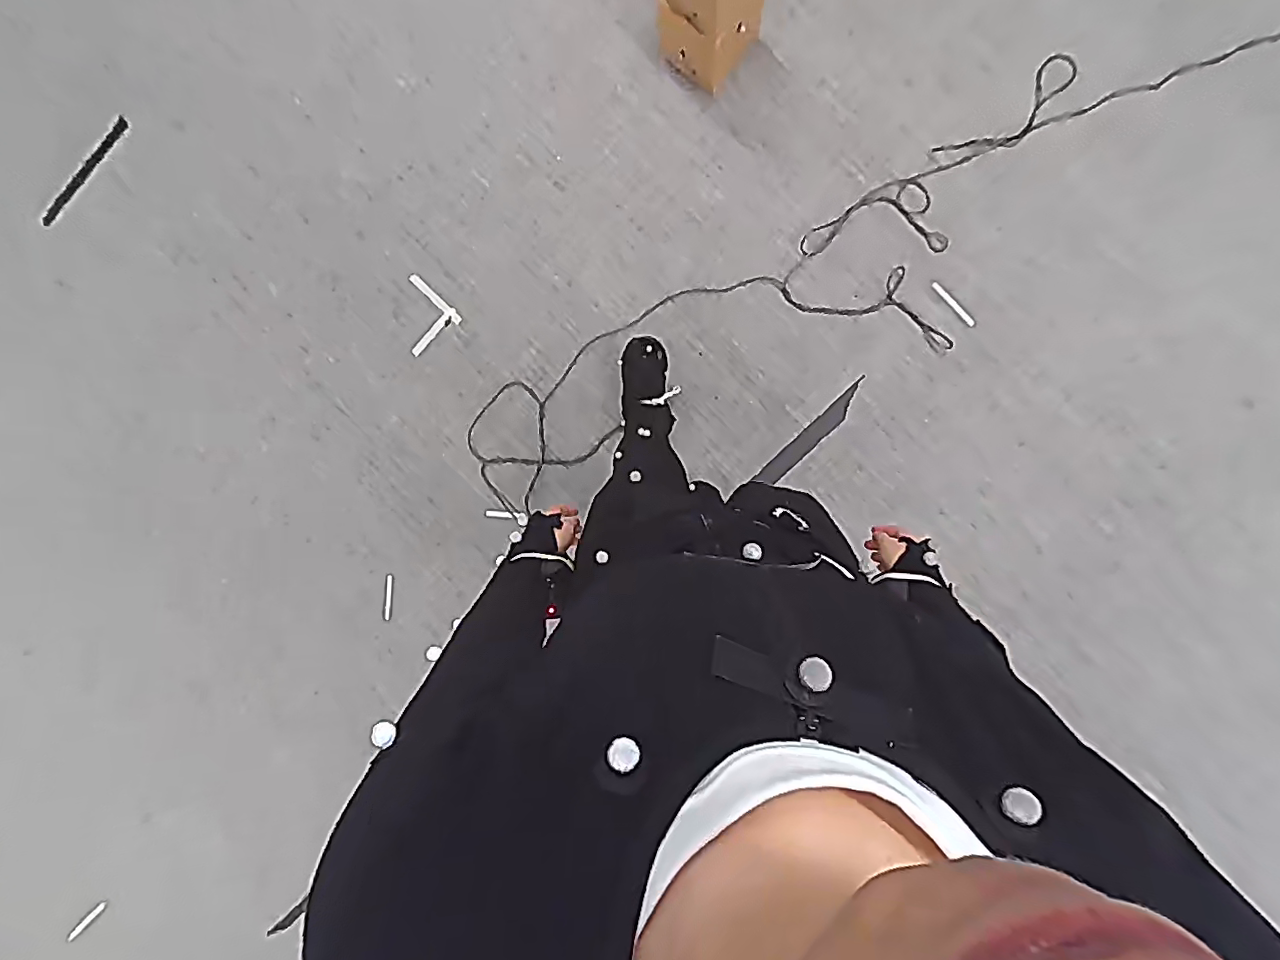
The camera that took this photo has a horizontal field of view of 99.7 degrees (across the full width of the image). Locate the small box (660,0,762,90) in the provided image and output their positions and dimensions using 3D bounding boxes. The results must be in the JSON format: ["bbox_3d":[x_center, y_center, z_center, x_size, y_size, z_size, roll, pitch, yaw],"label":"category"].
[{"bbox_3d":[0.159,-1.049,1.220,0.168,0.176,0.179,39,96,1],"label":"small box"}]
